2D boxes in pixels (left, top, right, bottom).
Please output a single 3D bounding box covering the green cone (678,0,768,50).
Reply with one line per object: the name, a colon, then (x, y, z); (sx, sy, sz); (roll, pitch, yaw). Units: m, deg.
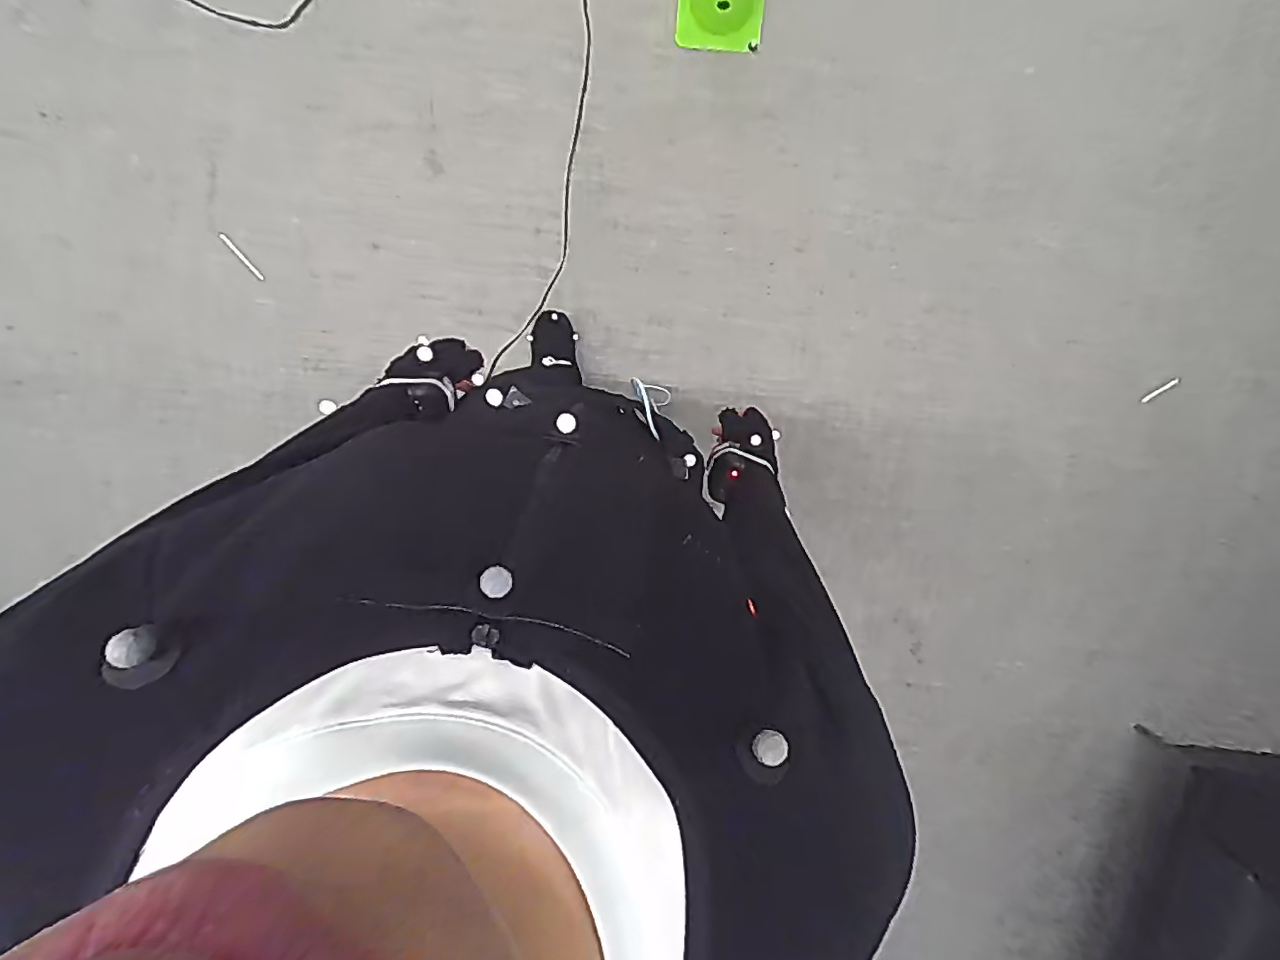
green cone: (0.189, -1.081, 1.082); (0.202, 0.368, 0.200); (5, 101, 1)
